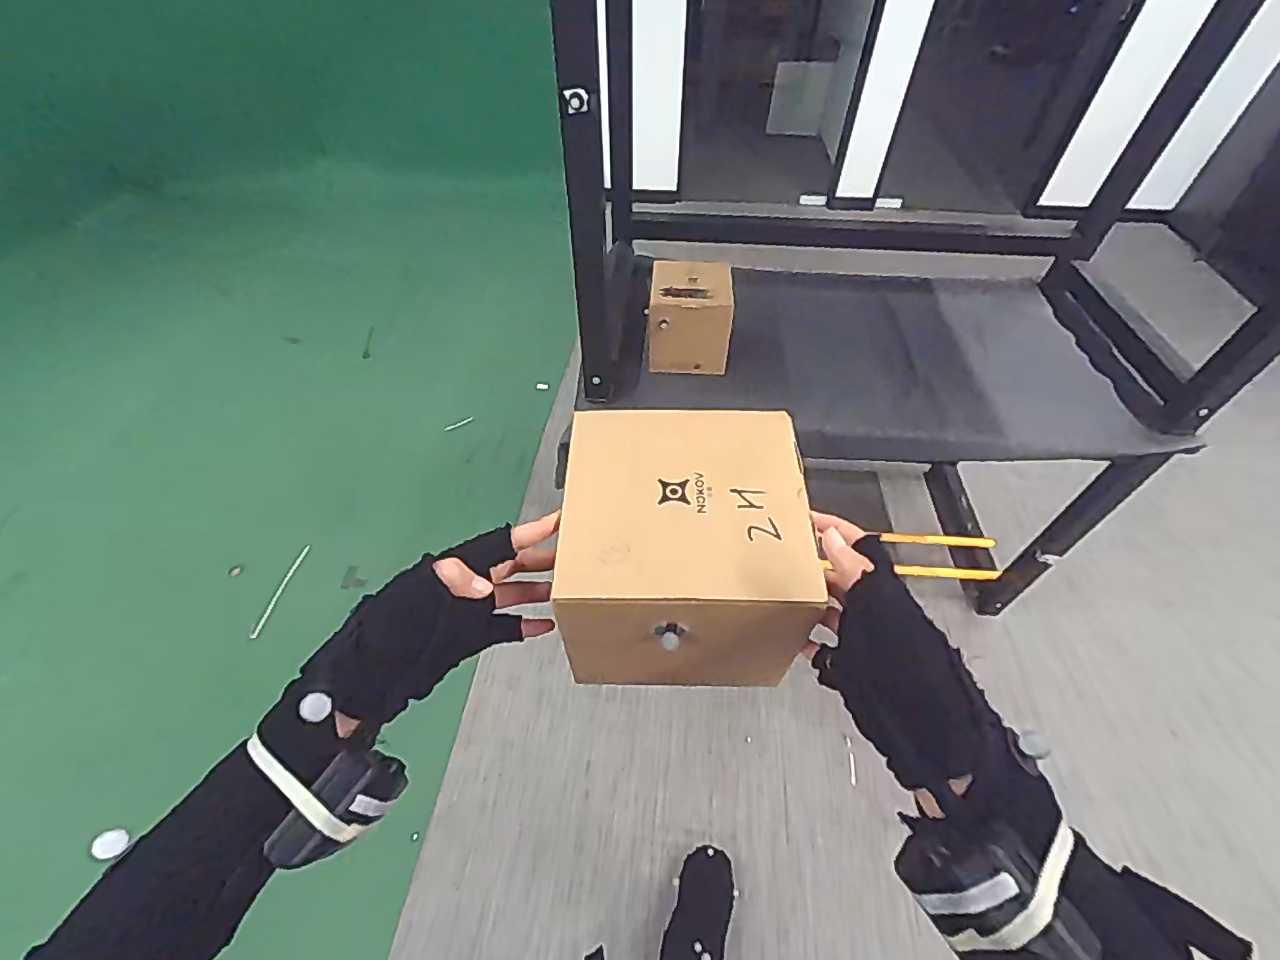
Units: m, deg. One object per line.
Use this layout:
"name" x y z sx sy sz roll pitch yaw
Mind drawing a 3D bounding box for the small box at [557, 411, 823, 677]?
"small box" 0.034 0.059 0.459 0.179 0.176 0.168 1 53 0
